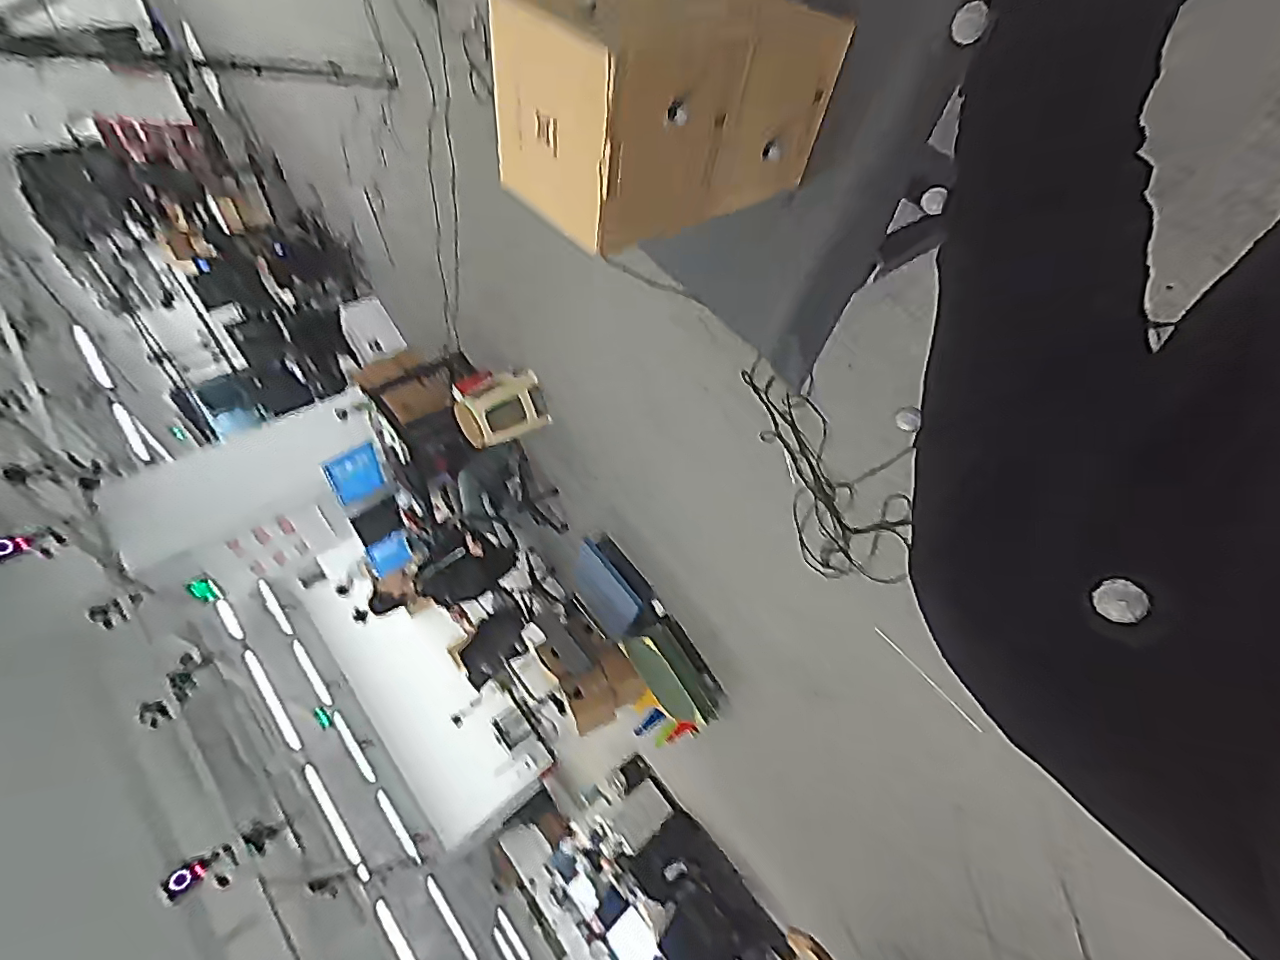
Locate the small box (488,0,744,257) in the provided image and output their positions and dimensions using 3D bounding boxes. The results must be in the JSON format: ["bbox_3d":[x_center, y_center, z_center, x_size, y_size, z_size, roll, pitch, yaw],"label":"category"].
[{"bbox_3d":[-0.026,-0.357,0.538,0.179,0.176,0.168,45,148,24],"label":"small box"}]

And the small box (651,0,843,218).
[{"bbox_3d":[0.094,-0.435,0.615,0.179,0.176,0.168,45,149,23],"label":"small box"}]
